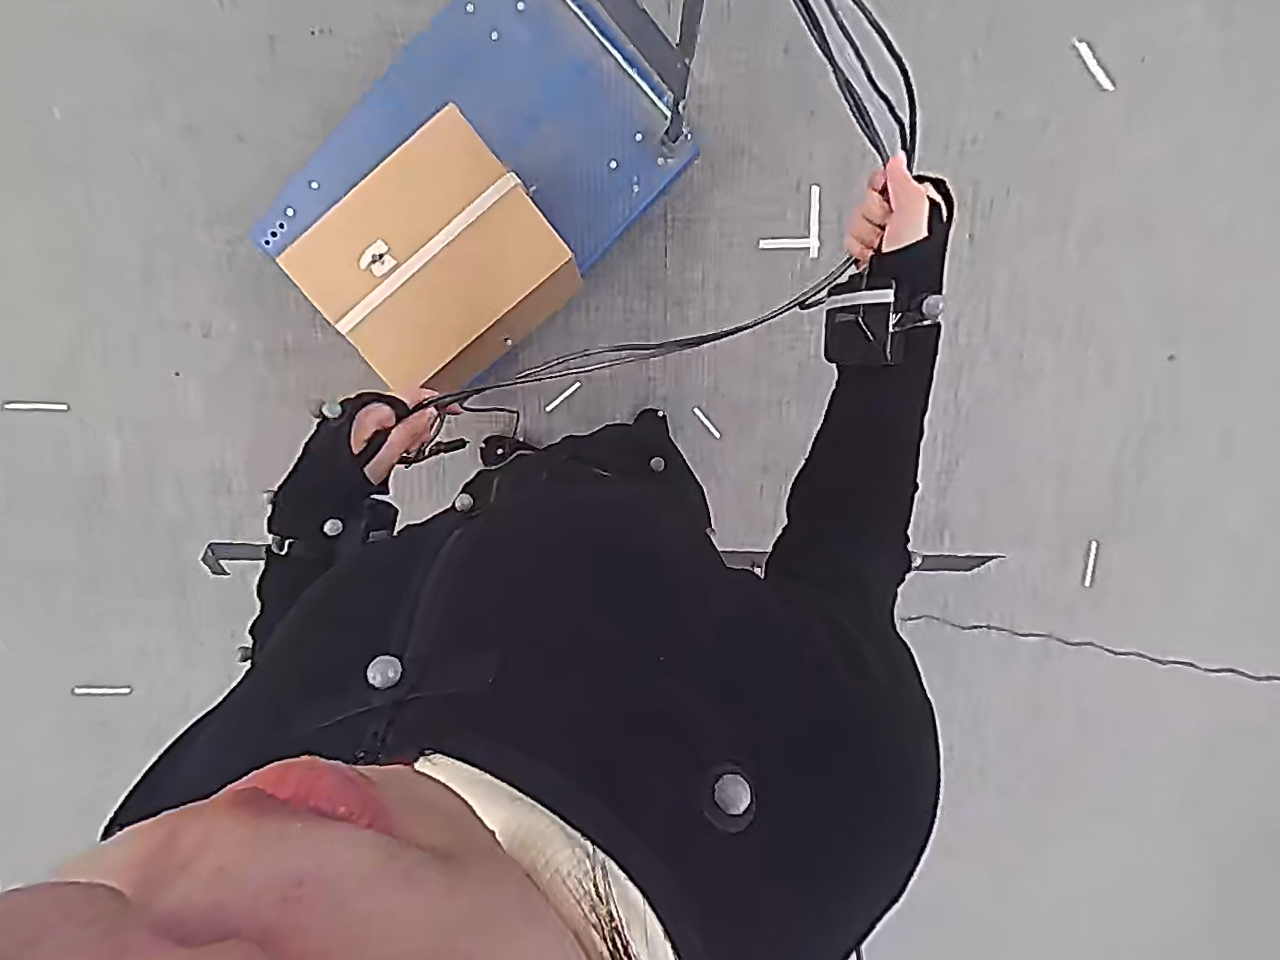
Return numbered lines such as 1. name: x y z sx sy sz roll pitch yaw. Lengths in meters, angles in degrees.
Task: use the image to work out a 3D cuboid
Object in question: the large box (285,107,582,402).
1. large box: -0.367 -0.406 1.075 0.408 0.320 0.320 -39 98 5
